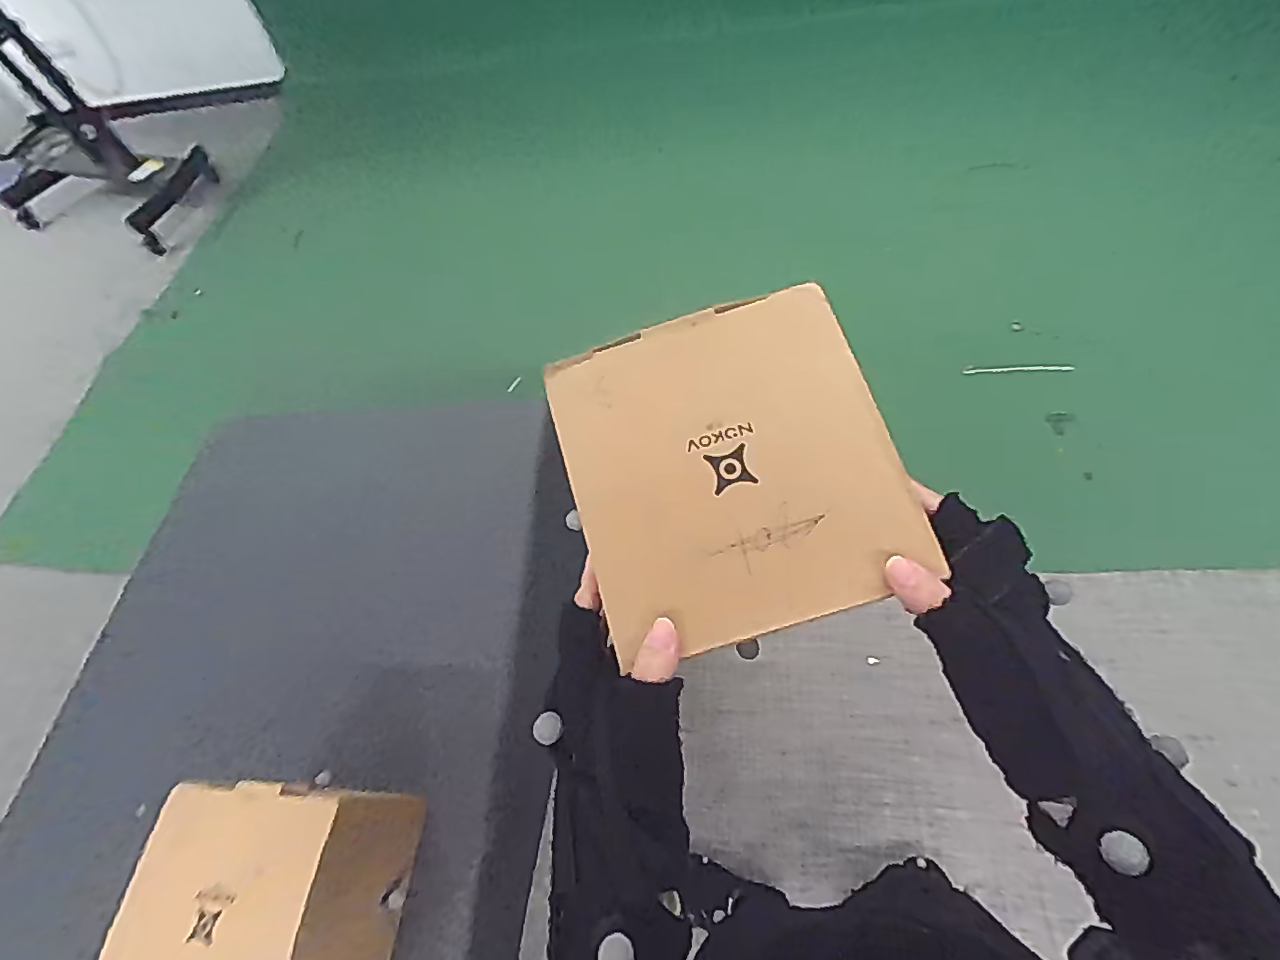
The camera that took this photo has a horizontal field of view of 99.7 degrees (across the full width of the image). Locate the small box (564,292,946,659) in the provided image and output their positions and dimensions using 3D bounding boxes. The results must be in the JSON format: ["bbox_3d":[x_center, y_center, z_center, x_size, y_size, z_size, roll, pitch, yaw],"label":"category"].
[{"bbox_3d":[0.059,0.012,0.368,0.168,0.176,0.179,-16,74,2],"label":"small box"}]

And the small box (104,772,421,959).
[{"bbox_3d":[-0.335,0.389,0.515,0.168,0.176,0.179,0,59,9],"label":"small box"}]
